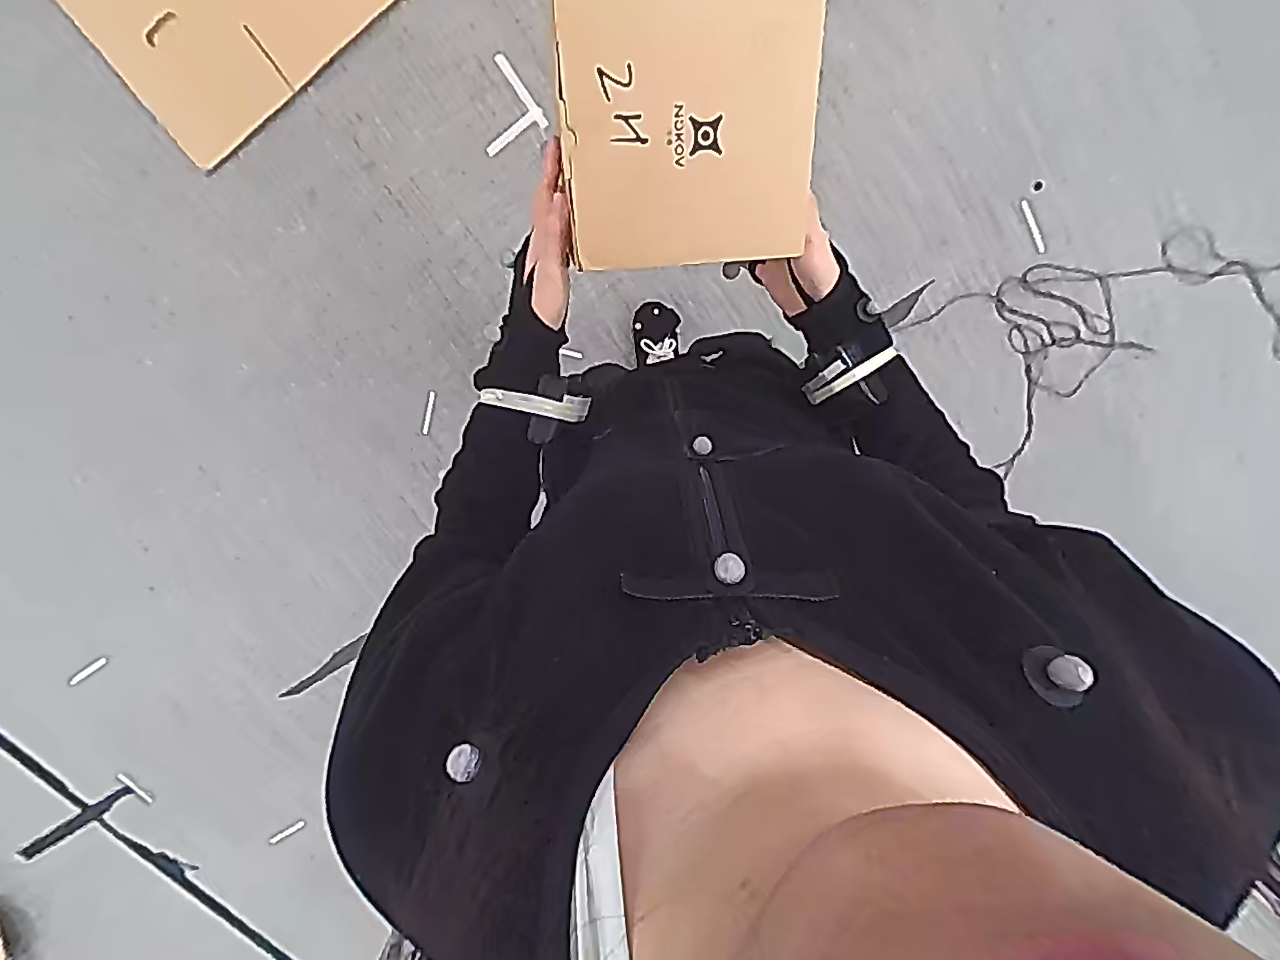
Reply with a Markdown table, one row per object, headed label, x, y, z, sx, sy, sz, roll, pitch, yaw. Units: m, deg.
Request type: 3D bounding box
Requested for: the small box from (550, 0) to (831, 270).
| label | x | y | z | sx | sy | sz | roll | pitch | yaw |
| --- | --- | --- | --- | --- | --- | --- | --- | --- | --- |
| small box | 0.025 | -0.269 | 0.434 | 0.179 | 0.176 | 0.168 | -7 | 117 | -7 |
